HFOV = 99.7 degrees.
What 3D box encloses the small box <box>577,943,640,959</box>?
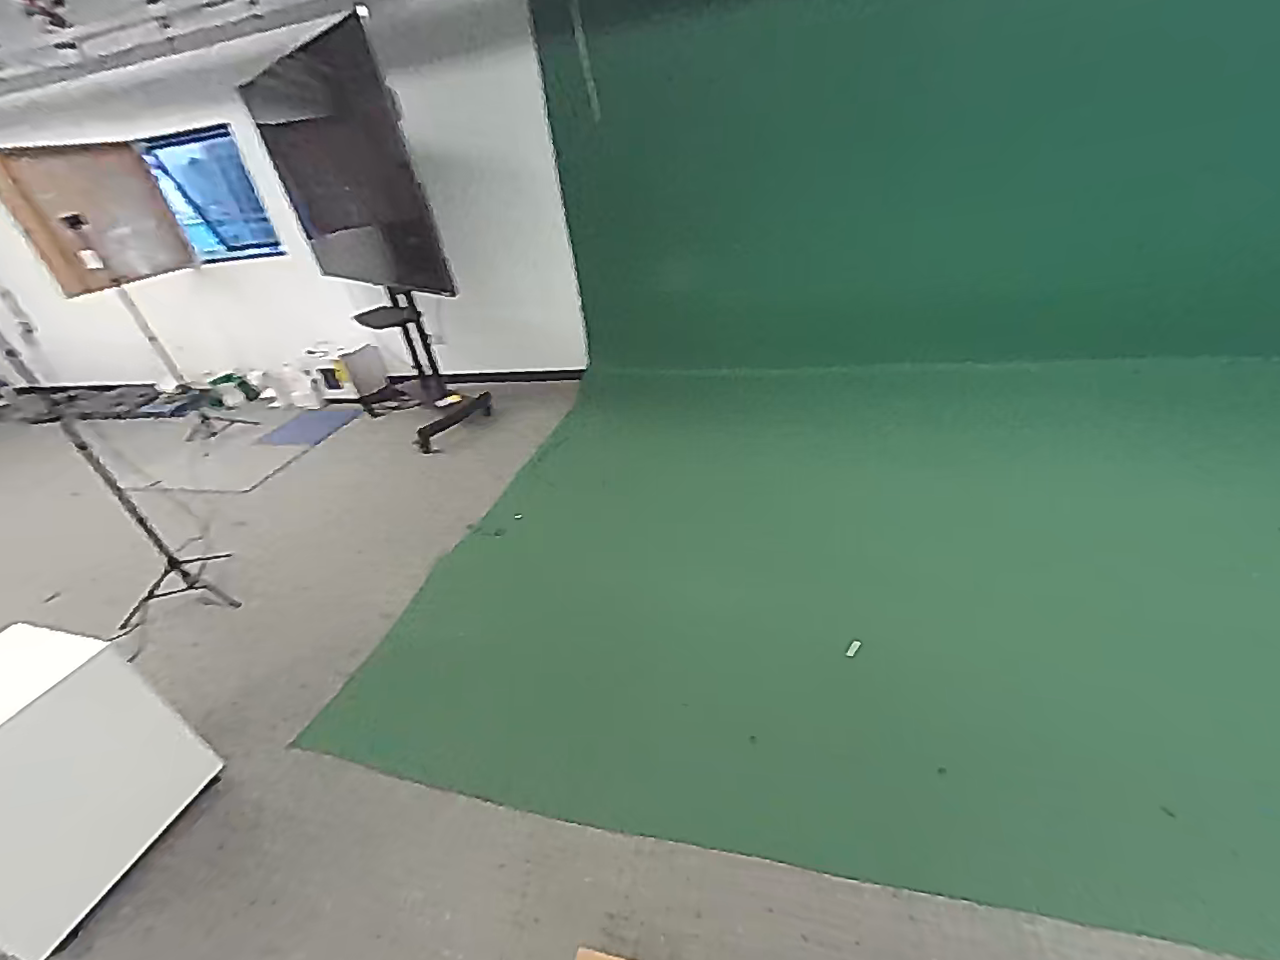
[{"bbox_3d":[-0.049,1.067,1.066,0.179,0.176,0.168,3,34,16],"label":"small box"}]
